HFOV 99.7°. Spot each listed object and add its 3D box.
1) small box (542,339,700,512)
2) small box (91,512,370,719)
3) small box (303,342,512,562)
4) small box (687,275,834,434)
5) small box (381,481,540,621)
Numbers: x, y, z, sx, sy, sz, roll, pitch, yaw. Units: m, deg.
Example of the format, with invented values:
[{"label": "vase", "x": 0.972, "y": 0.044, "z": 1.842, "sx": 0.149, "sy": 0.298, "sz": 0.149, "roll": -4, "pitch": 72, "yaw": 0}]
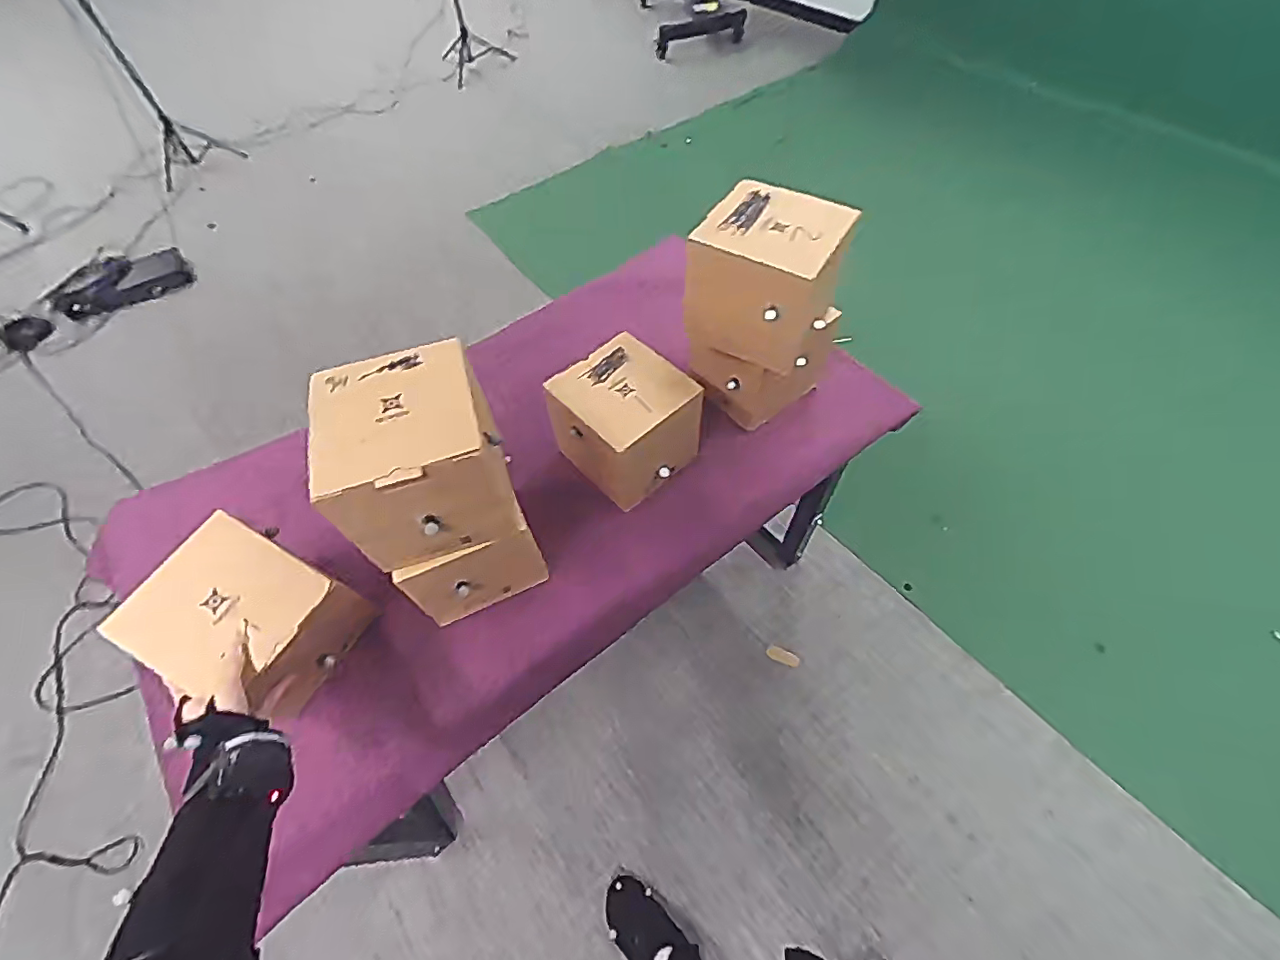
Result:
[{"label": "small box", "x": -0.028, "y": -0.082, "z": 0.851, "sx": 0.168, "sy": 0.176, "sz": 0.179, "roll": -38, "pitch": 63, "yaw": -21}, {"label": "small box", "x": -0.476, "y": 0.172, "z": 0.663, "sx": 0.179, "sy": 0.176, "sz": 0.168, "roll": 32, "pitch": 67, "yaw": 6}, {"label": "small box", "x": -0.256, "y": -0.023, "z": 0.622, "sx": 0.168, "sy": 0.176, "sz": 0.179, "roll": -16, "pitch": 57, "yaw": -9}, {"label": "small box", "x": 0.198, "y": -0.211, "z": 0.930, "sx": 0.179, "sy": 0.176, "sz": 0.168, "roll": -33, "pitch": 61, "yaw": -18}, {"label": "small box", "x": -0.252, "y": 0.077, "z": 0.752, "sx": 0.168, "sy": 0.176, "sz": 0.179, "roll": -22, "pitch": 58, "yaw": -13}]
